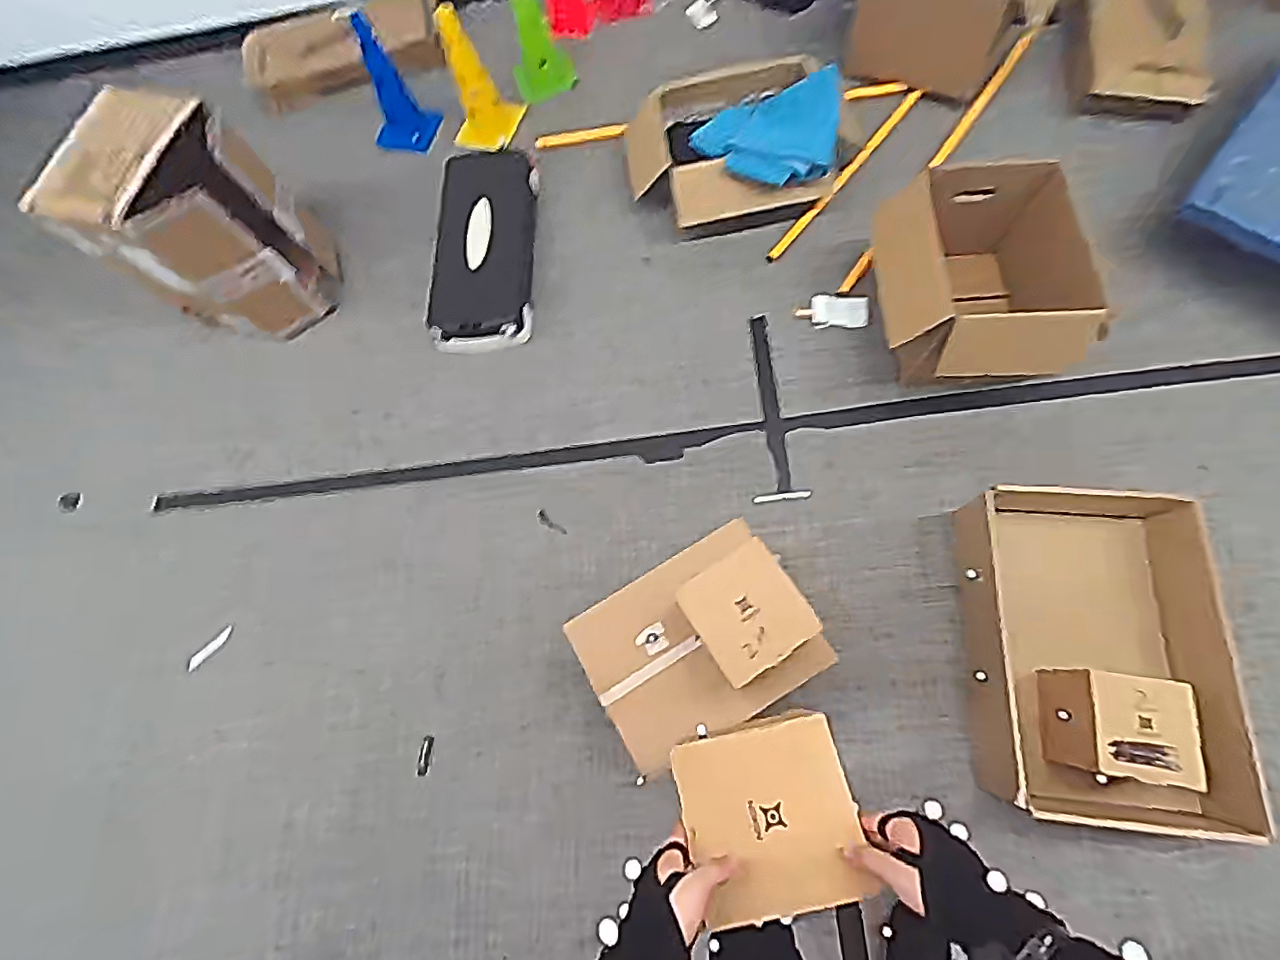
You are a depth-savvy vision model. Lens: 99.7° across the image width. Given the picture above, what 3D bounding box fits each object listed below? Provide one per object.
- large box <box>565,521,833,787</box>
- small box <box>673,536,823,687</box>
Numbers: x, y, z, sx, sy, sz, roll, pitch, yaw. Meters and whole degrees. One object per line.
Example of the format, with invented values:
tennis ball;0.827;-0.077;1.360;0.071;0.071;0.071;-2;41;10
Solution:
large box;0.119;0.346;1.127;0.408;0.320;0.320;-32;70;-4
small box;0.170;0.222;0.901;0.168;0.176;0.179;-33;72;-4
